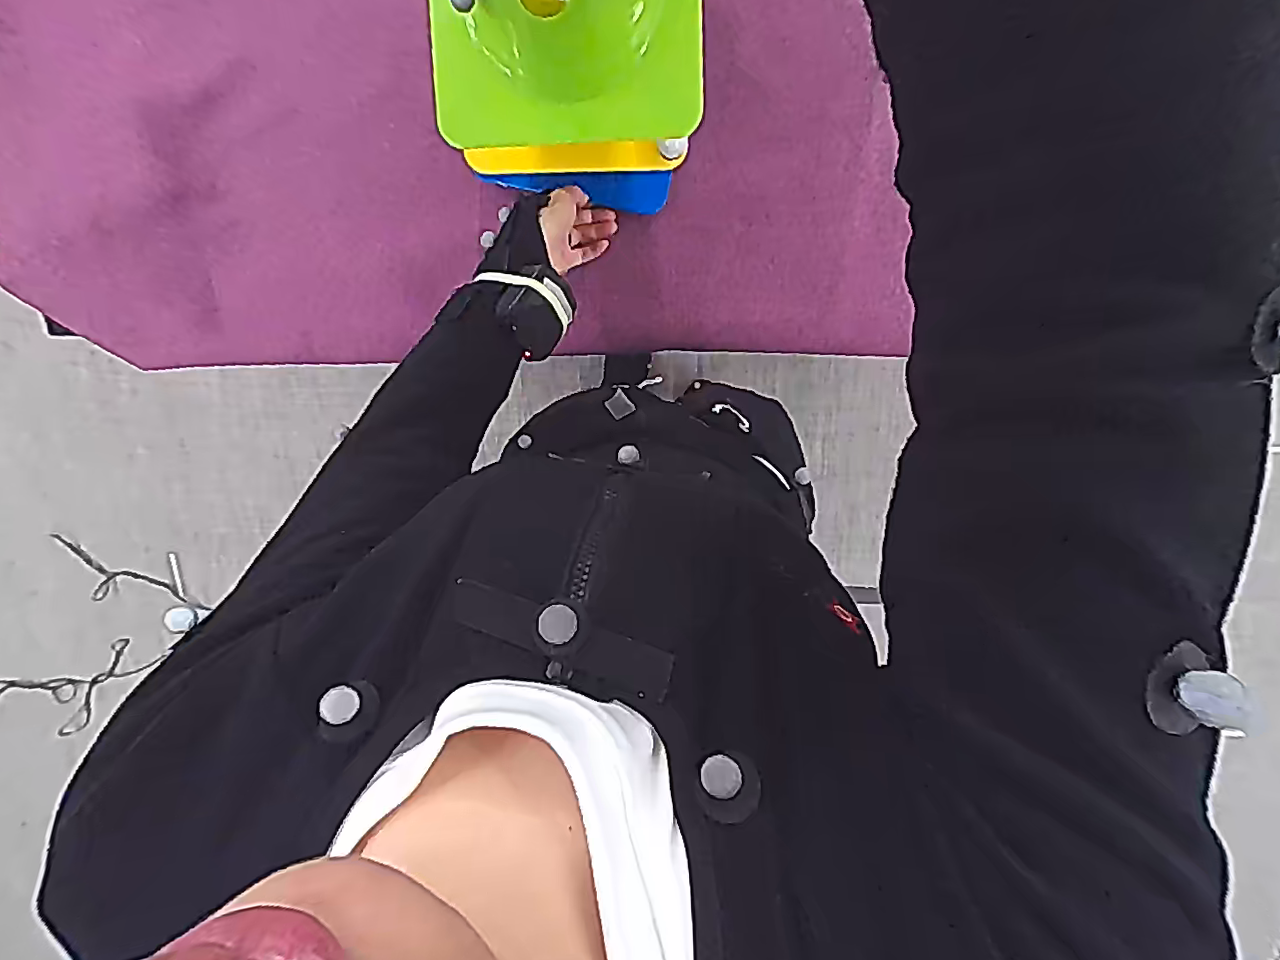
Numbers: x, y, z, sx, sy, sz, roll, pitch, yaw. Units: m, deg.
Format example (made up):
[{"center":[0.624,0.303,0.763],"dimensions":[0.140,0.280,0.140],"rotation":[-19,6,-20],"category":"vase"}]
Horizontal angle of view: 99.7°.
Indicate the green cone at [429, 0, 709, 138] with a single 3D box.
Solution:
[{"center":[-0.061,-0.329,0.213],"dimensions":[0.200,0.368,0.202],"rotation":[-2,99,3],"category":"green cone"}]
